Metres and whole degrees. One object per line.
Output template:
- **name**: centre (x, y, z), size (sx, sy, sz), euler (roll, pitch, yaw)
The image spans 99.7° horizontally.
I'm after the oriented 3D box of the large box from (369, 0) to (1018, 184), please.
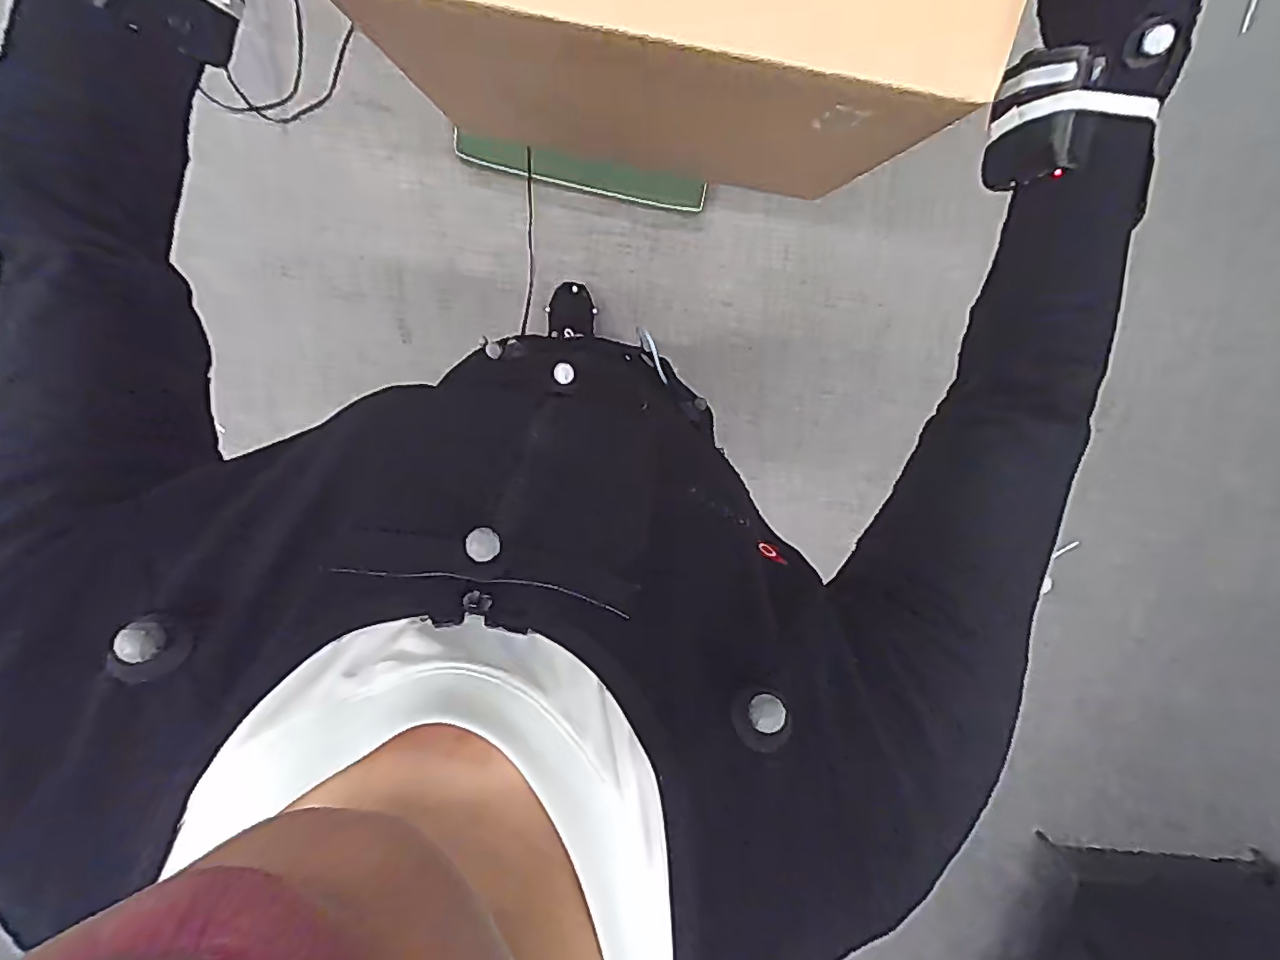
- **large box**: centre (0.033, -0.454, 0.407), size (0.408, 0.320, 0.320), euler (8, 108, -5)
